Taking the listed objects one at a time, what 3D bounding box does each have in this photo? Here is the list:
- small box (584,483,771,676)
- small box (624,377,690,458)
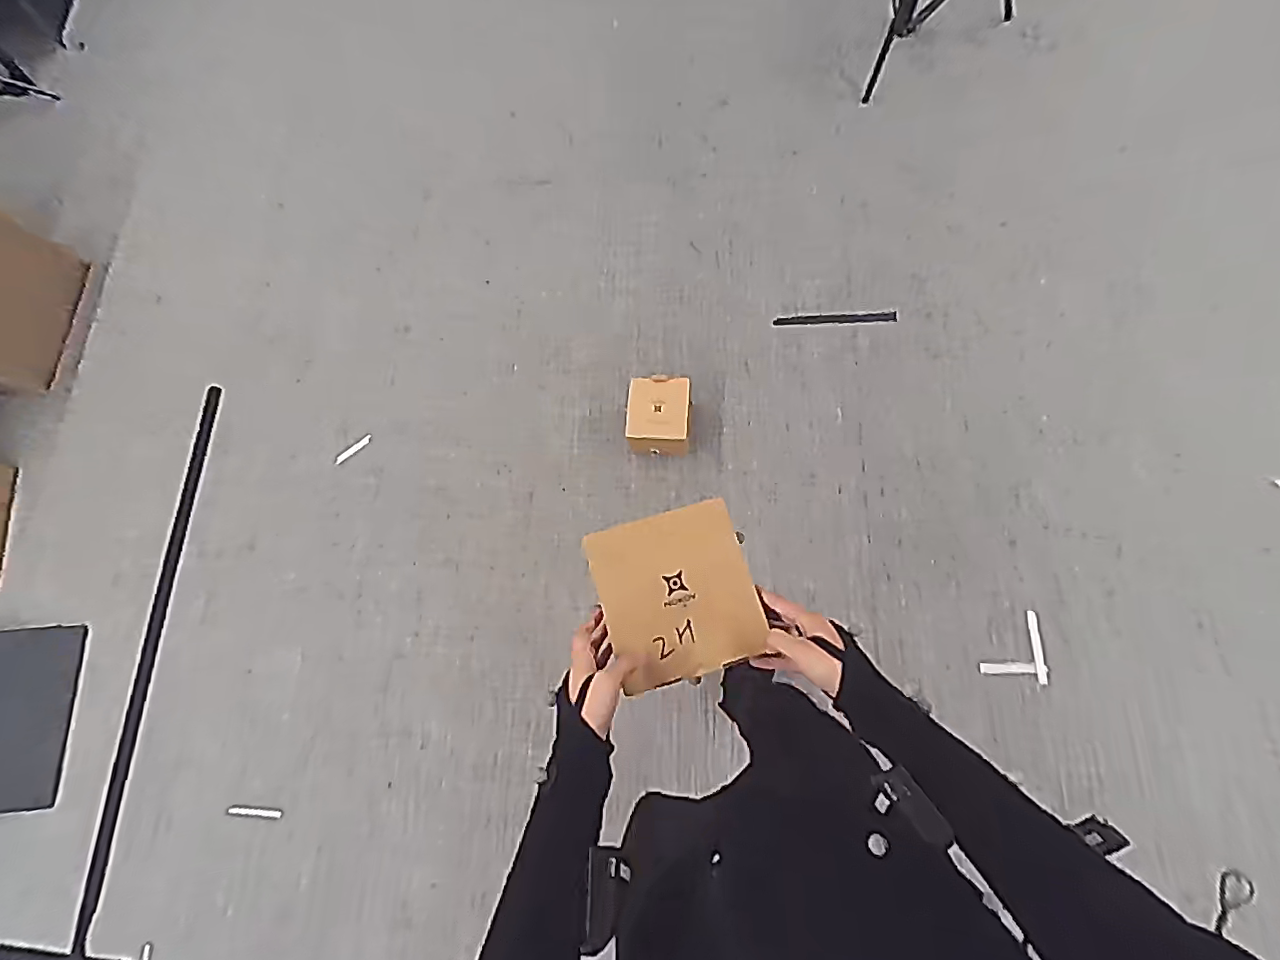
[{"bbox_3d":[0.036,0.127,0.655,0.168,0.176,0.179,-16,73,-4],"label":"small box"},{"bbox_3d":[0.052,-0.174,1.523,0.168,0.176,0.179,3,75,8],"label":"small box"}]
